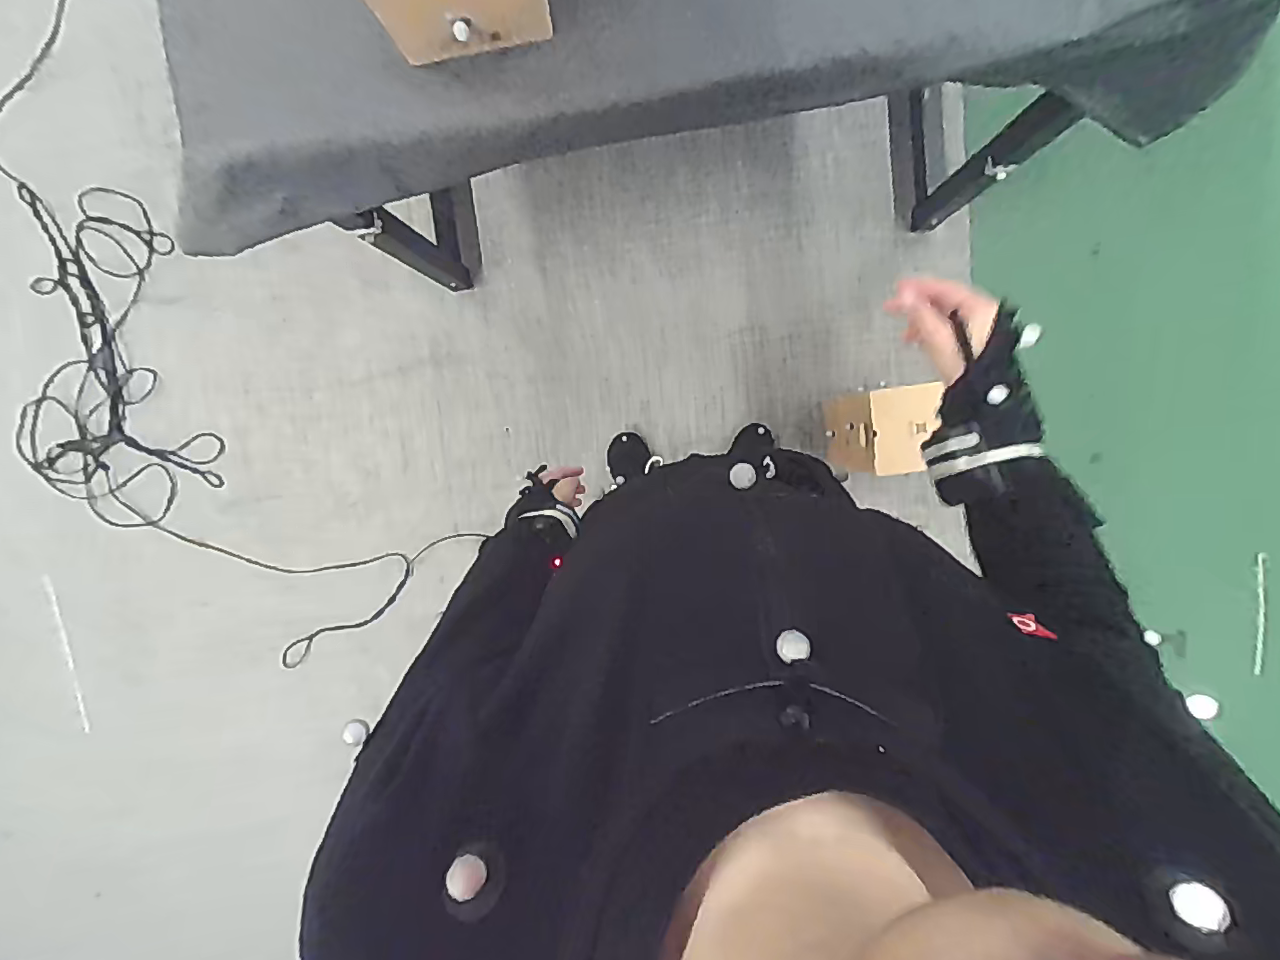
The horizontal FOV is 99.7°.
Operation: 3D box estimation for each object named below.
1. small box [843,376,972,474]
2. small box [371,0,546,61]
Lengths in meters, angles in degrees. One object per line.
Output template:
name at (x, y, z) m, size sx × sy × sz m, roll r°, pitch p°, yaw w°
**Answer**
small box at (0.527, -0.112, 1.083) m, size 0.179 × 0.176 × 0.168 m, roll -8°, pitch 96°, yaw 5°
small box at (-0.196, -0.550, 0.508) m, size 0.168 × 0.176 × 0.179 m, roll -8°, pitch 96°, yaw 5°
